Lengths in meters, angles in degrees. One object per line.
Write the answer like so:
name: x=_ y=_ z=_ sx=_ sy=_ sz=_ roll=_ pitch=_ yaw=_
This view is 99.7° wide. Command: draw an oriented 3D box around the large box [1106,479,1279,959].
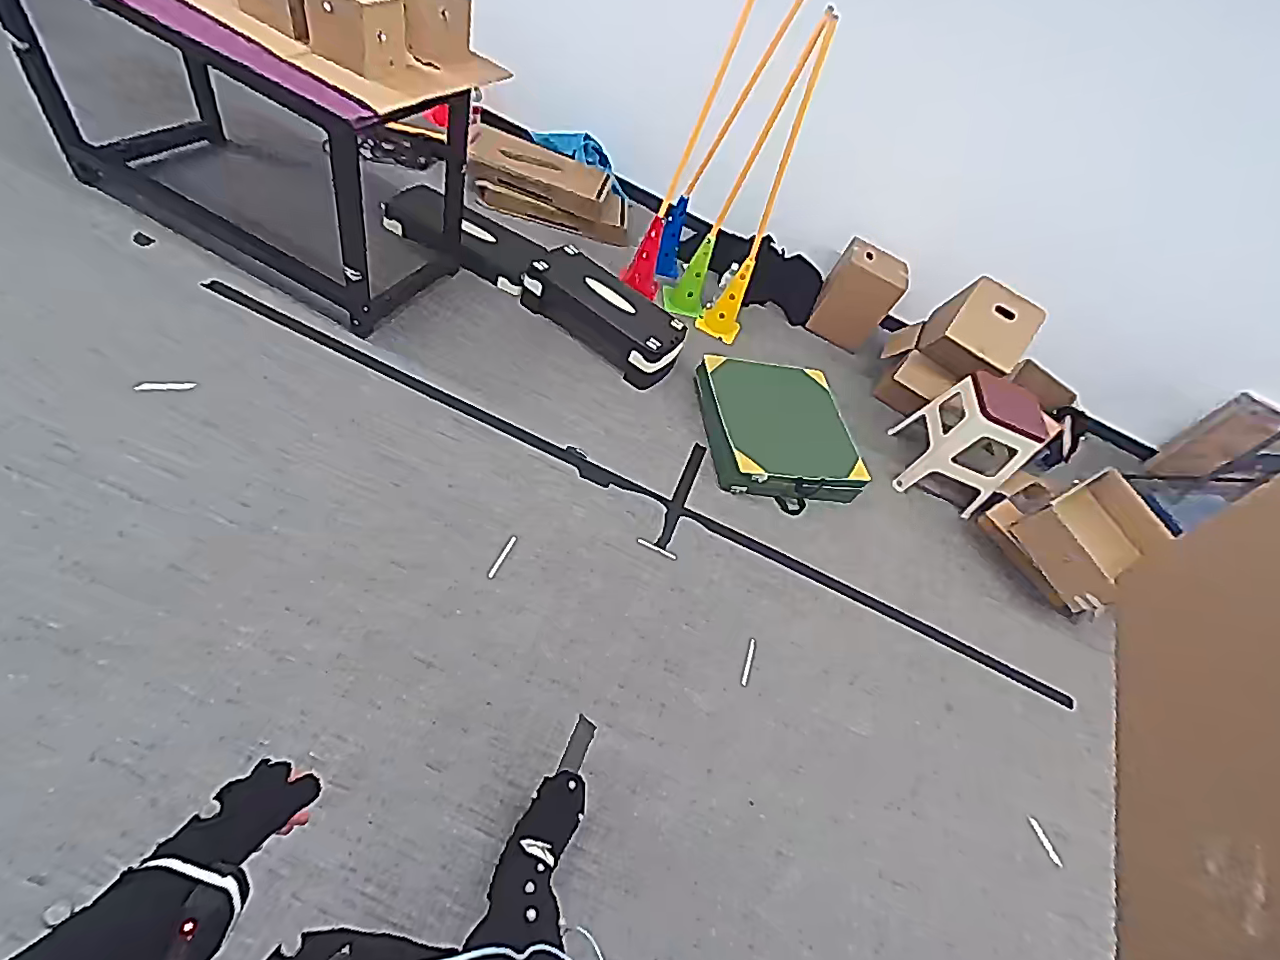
large box: x=0.469 y=0.124 z=0.180 sx=0.320 sy=0.408 sz=0.320 roll=31 pitch=53 yaw=15
